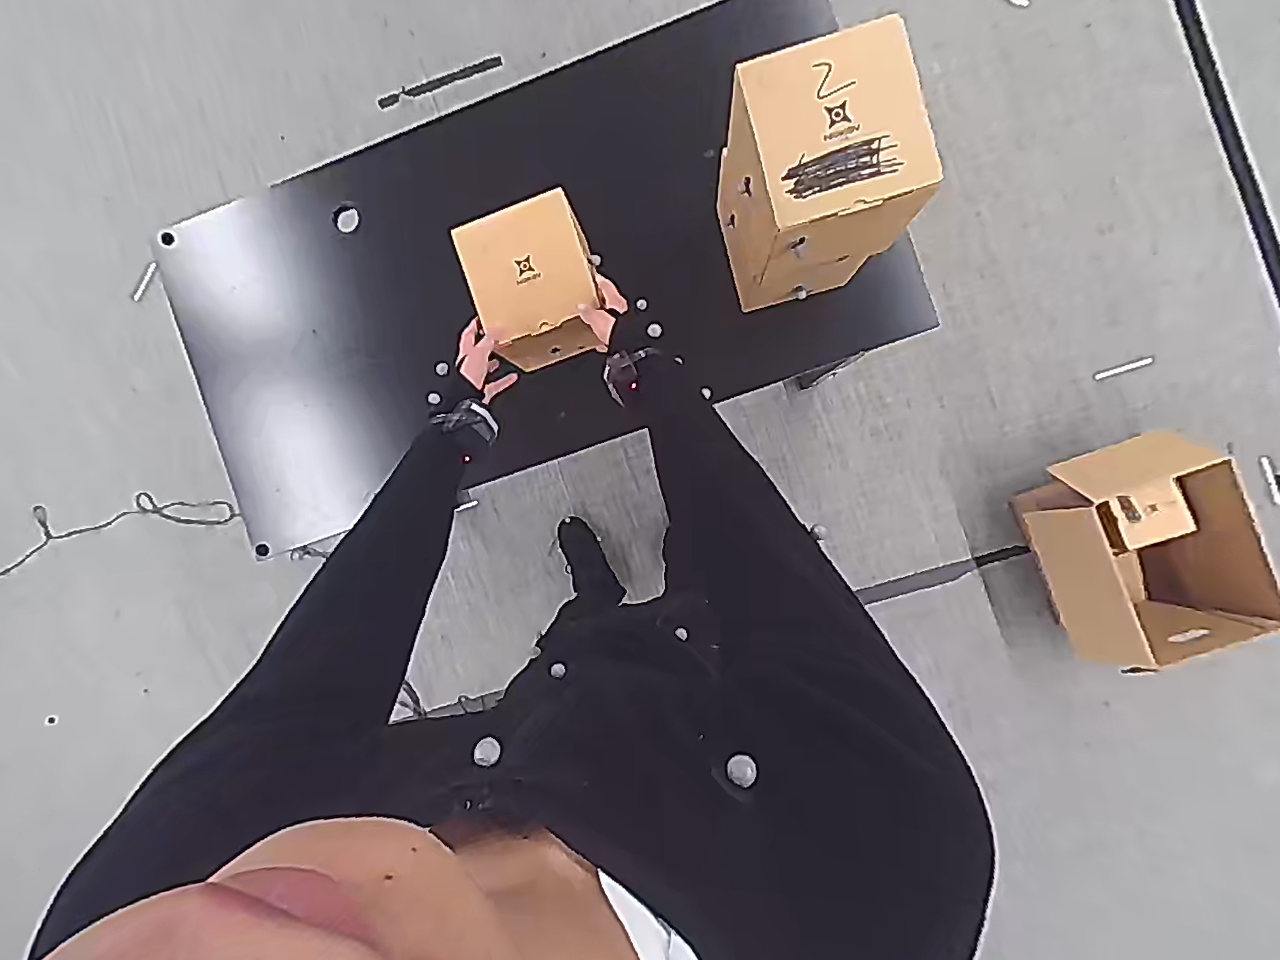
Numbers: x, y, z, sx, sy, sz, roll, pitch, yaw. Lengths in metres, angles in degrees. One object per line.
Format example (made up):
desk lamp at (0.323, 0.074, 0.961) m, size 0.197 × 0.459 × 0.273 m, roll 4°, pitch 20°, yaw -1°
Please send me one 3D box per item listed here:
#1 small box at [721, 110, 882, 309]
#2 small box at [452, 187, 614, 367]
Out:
small box at (0.215, -0.367, 0.768) m, size 0.168 × 0.176 × 0.179 m, roll -14°, pitch 90°, yaw 6°
small box at (-0.147, -0.287, 0.804) m, size 0.168 × 0.176 × 0.179 m, roll -19°, pitch 90°, yaw 5°
